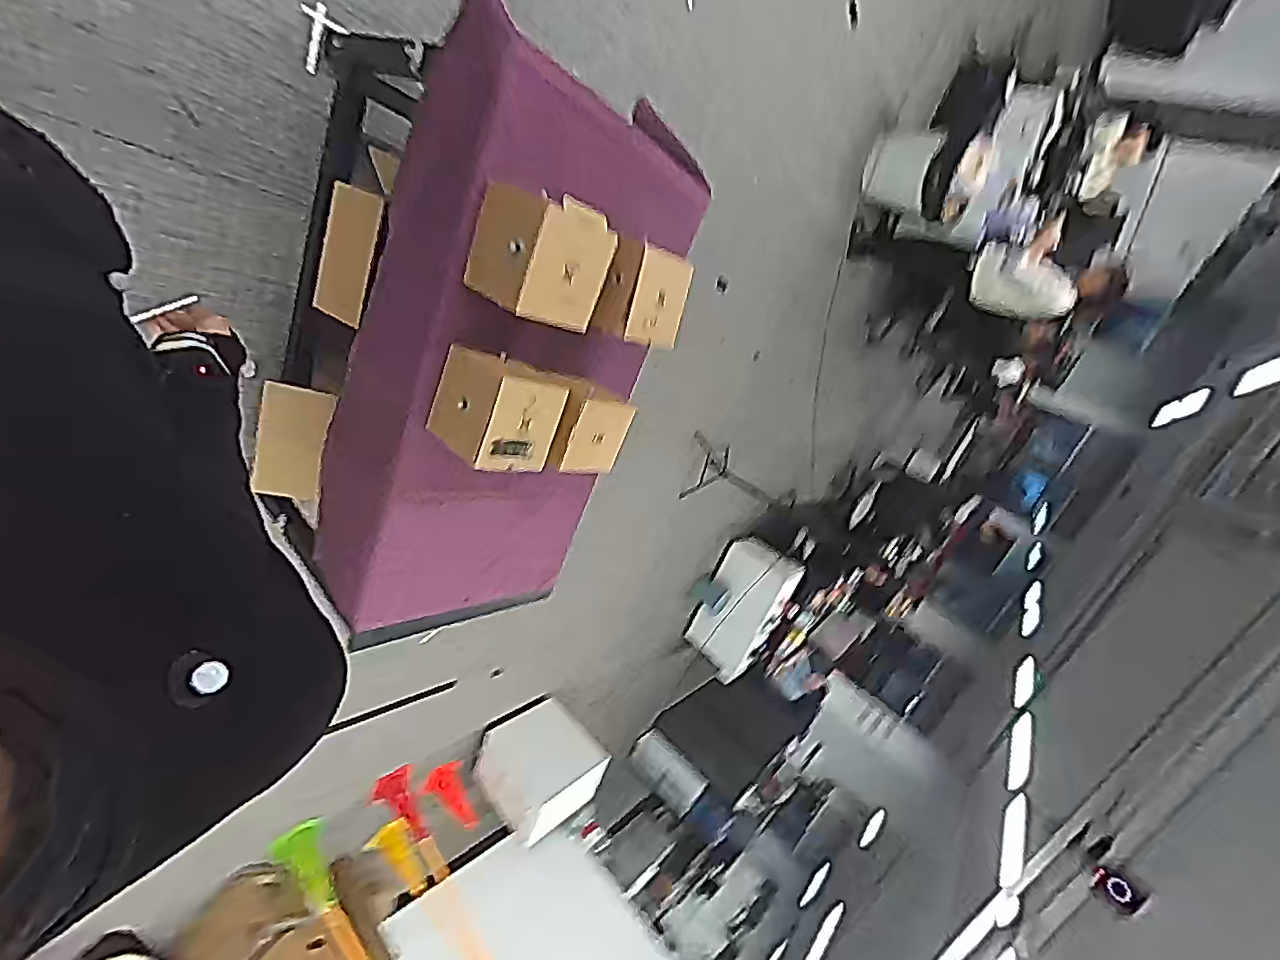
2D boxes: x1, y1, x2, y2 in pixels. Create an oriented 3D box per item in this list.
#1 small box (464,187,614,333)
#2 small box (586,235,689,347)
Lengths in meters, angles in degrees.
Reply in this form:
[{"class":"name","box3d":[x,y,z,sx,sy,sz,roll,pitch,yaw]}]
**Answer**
[{"class":"small box","box3d":[-0.181,-0.384,0.947,0.168,0.176,0.179,-3,122,-53]},{"class":"small box","box3d":[-0.032,-0.401,1.137,0.168,0.176,0.179,-5,123,-52]}]
